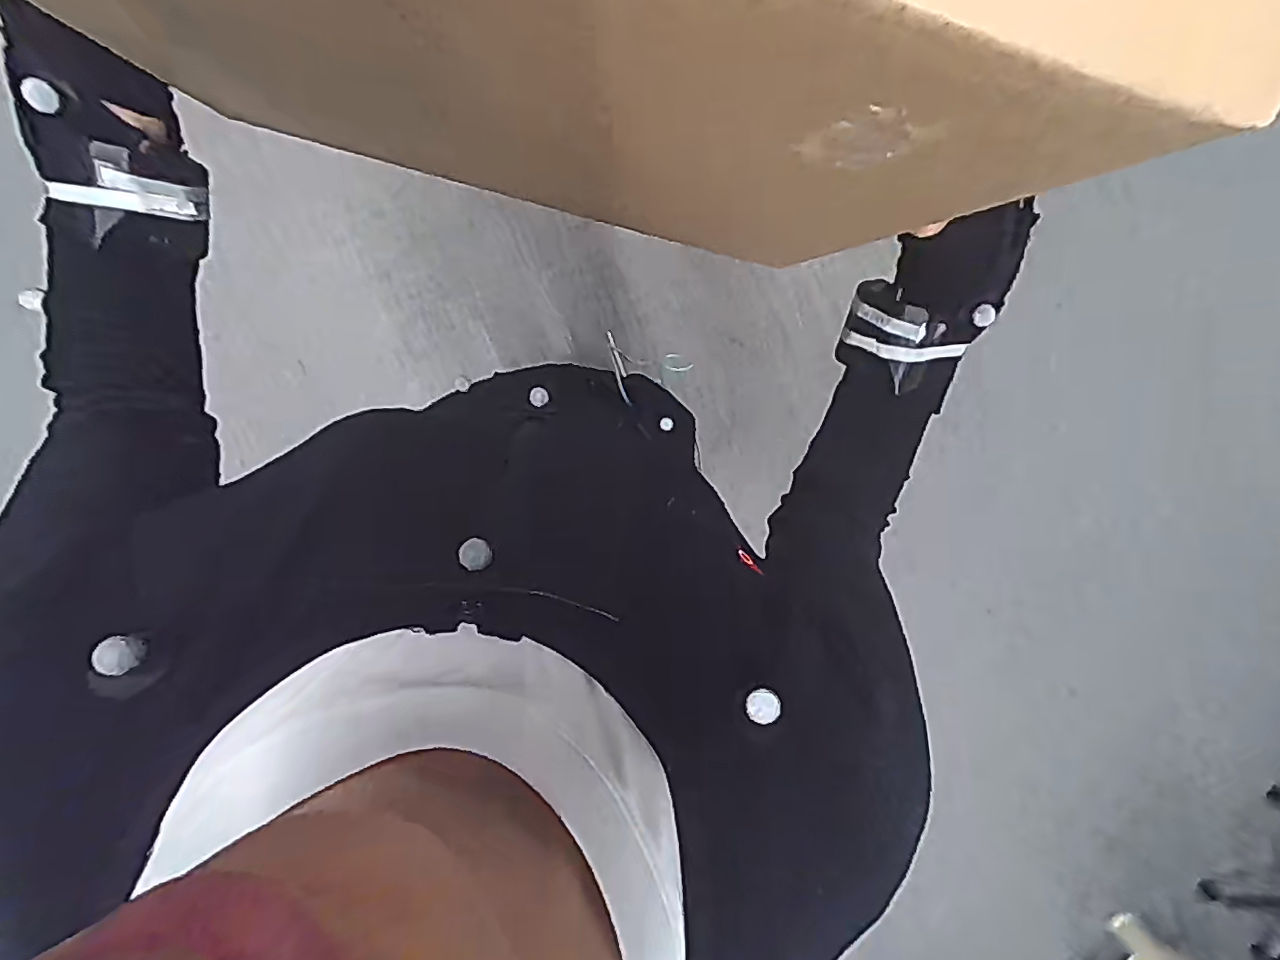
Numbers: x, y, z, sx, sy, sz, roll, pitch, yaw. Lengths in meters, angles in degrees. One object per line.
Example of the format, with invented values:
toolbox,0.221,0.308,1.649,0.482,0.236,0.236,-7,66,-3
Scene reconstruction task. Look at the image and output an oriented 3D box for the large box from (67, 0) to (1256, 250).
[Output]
large box,-0.030,-0.315,0.214,0.408,0.320,0.320,10,105,-10
